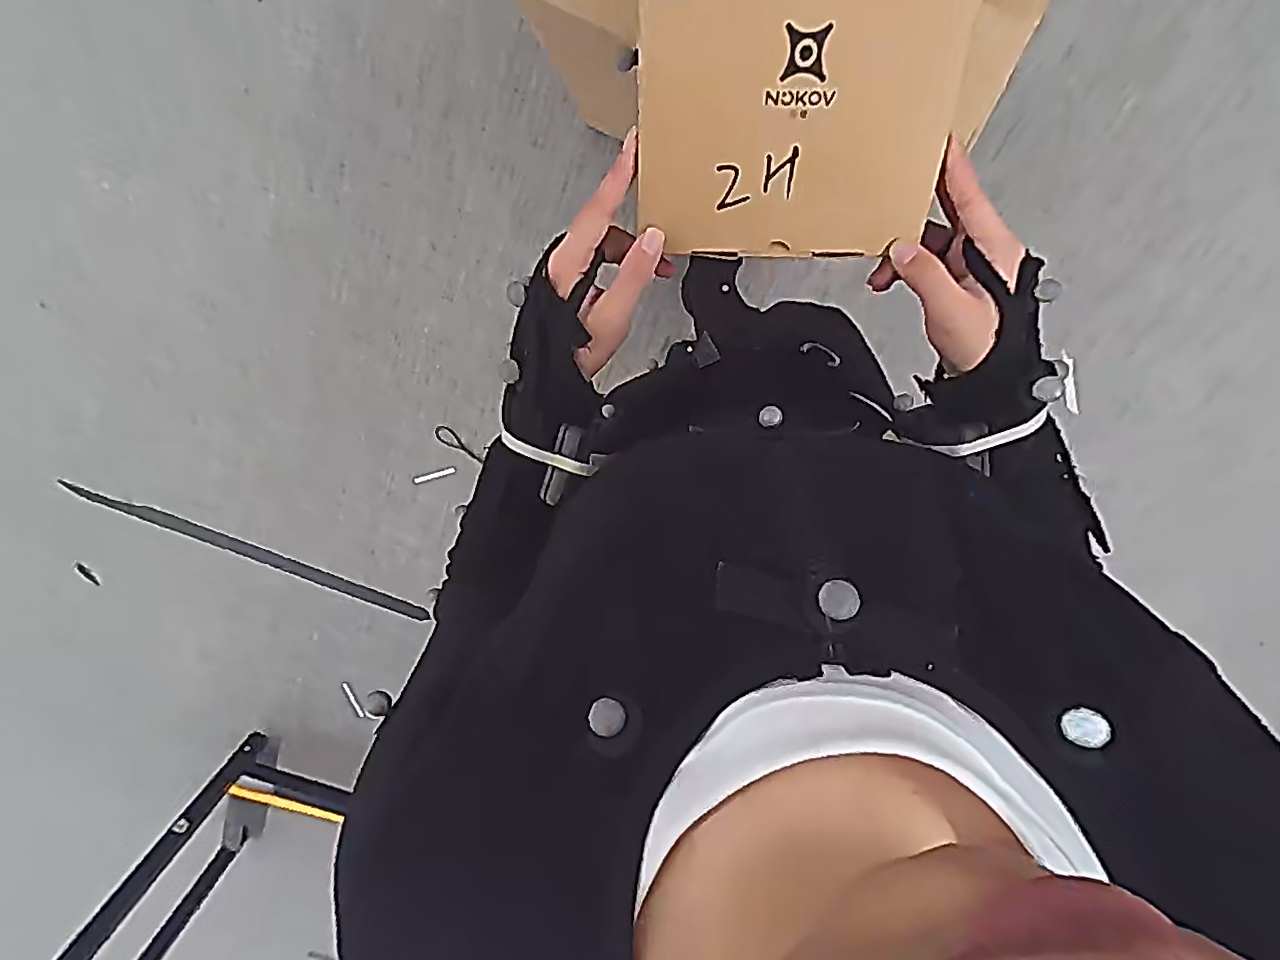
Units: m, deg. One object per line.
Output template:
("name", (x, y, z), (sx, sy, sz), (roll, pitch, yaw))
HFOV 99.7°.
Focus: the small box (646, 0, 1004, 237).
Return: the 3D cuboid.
("small box", (0.089, -0.255, 0.331), (0.168, 0.176, 0.179), (2, 121, 0))
